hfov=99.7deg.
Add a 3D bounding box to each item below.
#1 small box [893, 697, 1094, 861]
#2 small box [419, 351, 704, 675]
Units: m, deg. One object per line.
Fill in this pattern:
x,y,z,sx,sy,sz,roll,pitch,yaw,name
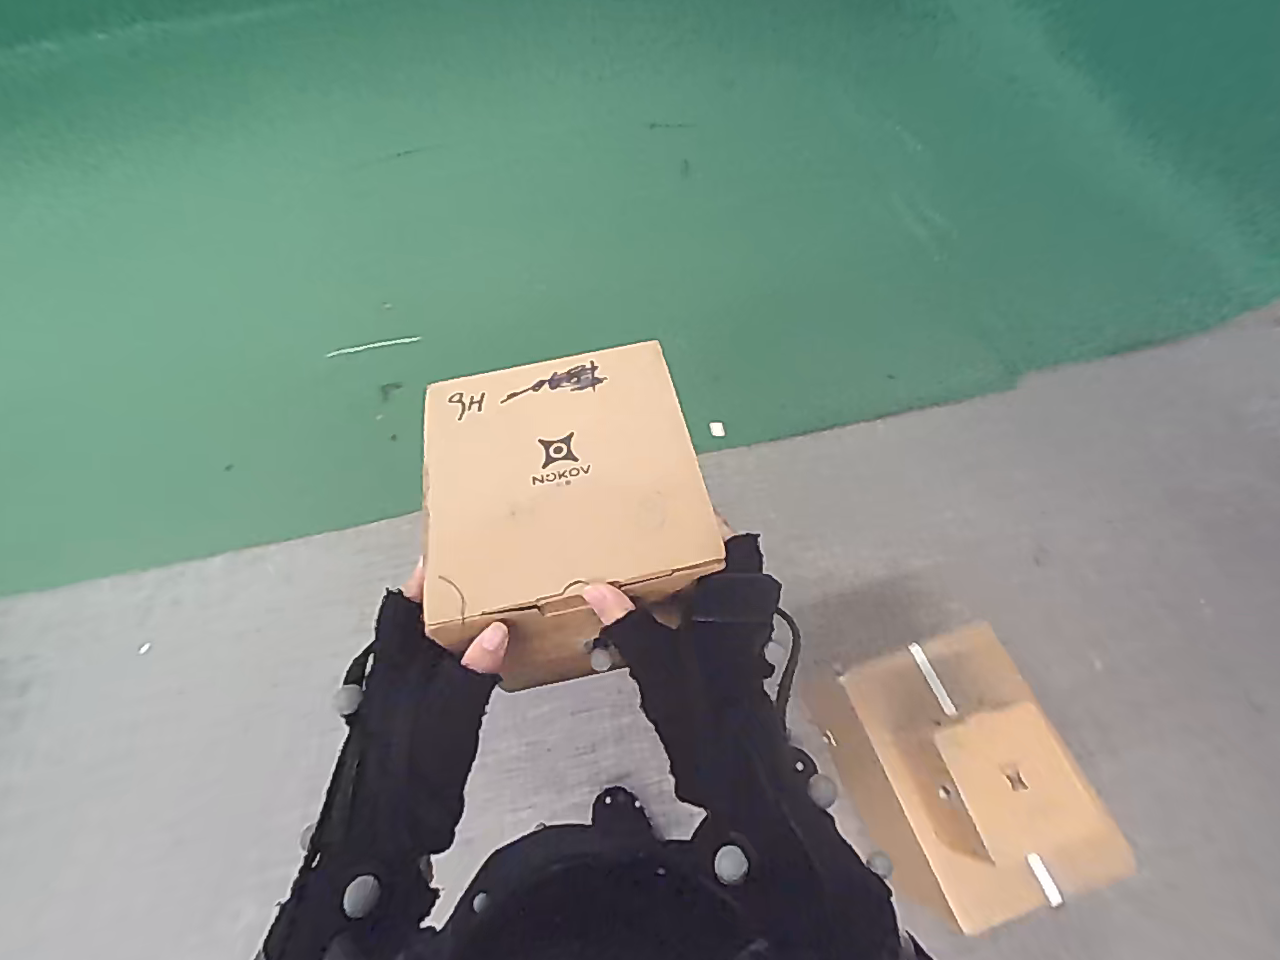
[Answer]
0.532,0.461,0.849,0.168,0.176,0.179,-17,64,-3,small box
-0.052,0.037,0.411,0.168,0.176,0.179,-13,58,-3,small box
